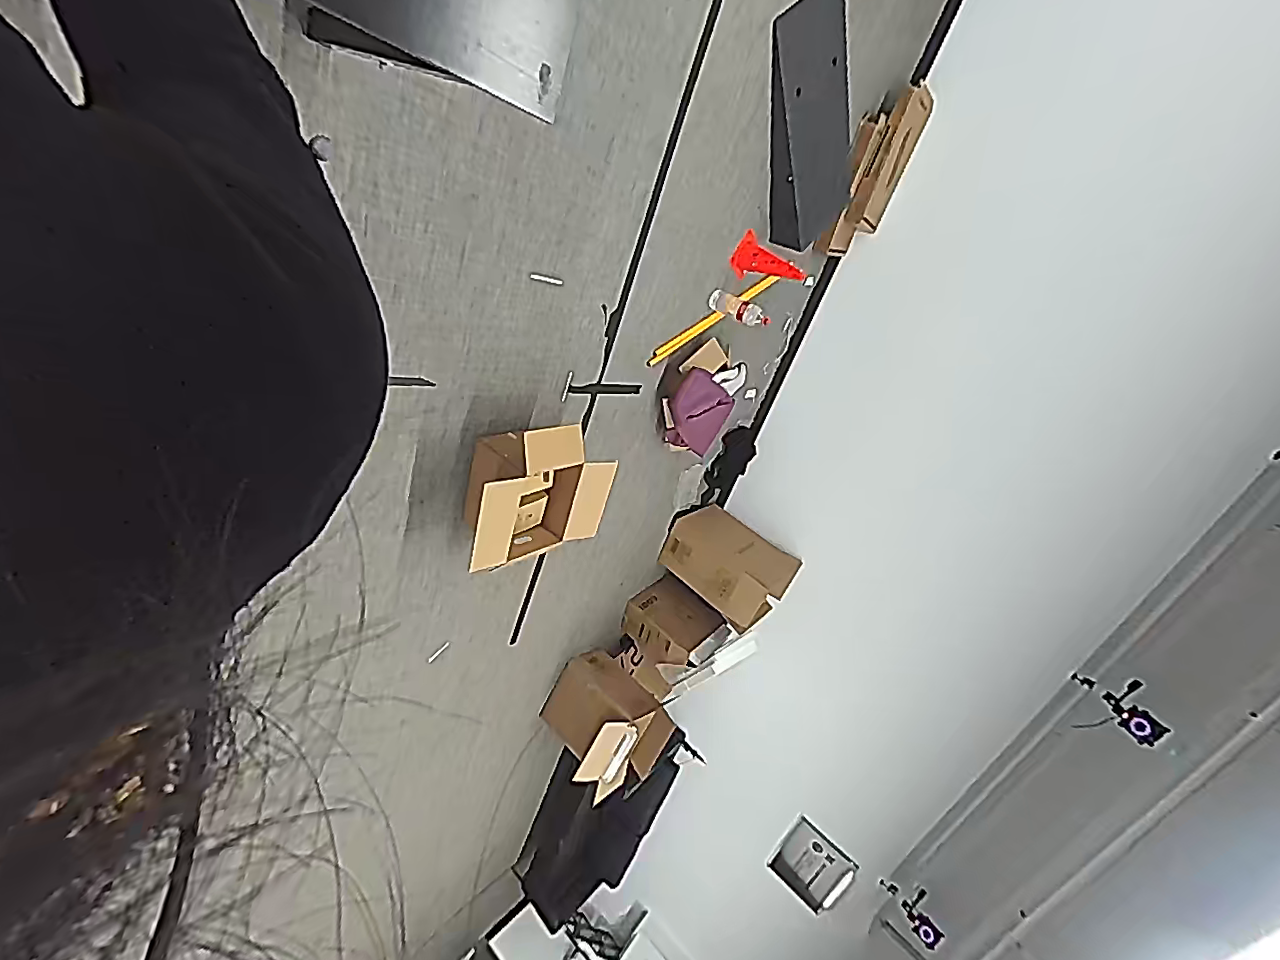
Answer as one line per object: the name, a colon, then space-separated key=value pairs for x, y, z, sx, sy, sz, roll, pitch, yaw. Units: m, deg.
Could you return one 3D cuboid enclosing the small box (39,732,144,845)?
small box: x=-1.502 y=0.834 z=1.483 sx=0.179 sy=0.176 sz=0.168 roll=-9 pitch=125 yaw=-52
